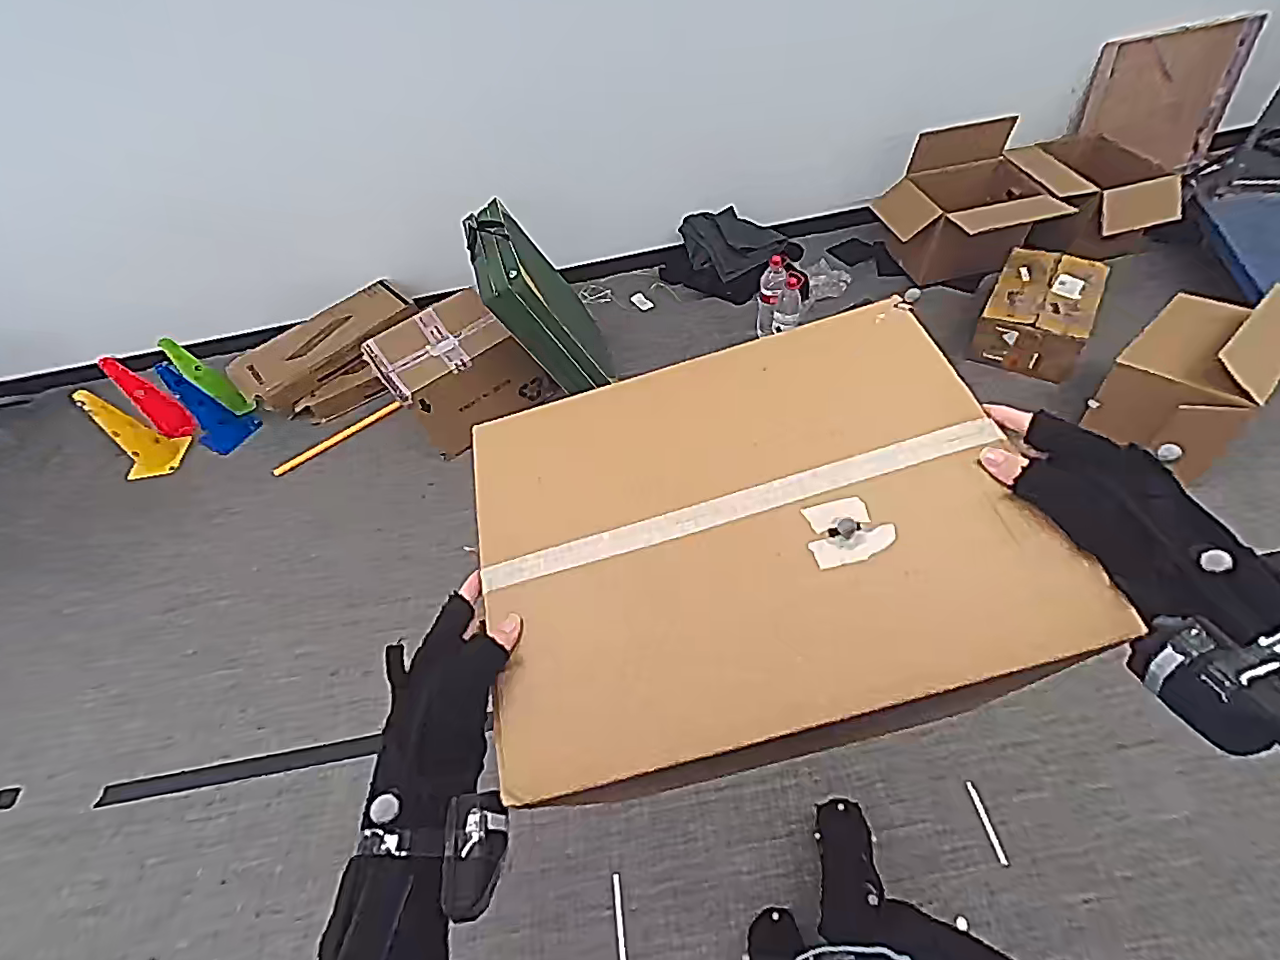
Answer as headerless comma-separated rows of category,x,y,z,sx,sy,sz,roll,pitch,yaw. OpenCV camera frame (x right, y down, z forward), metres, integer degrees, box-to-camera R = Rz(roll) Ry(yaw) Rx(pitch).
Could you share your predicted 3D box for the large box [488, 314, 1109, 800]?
large box,0.104,0.101,0.553,0.408,0.320,0.320,-17,58,2
